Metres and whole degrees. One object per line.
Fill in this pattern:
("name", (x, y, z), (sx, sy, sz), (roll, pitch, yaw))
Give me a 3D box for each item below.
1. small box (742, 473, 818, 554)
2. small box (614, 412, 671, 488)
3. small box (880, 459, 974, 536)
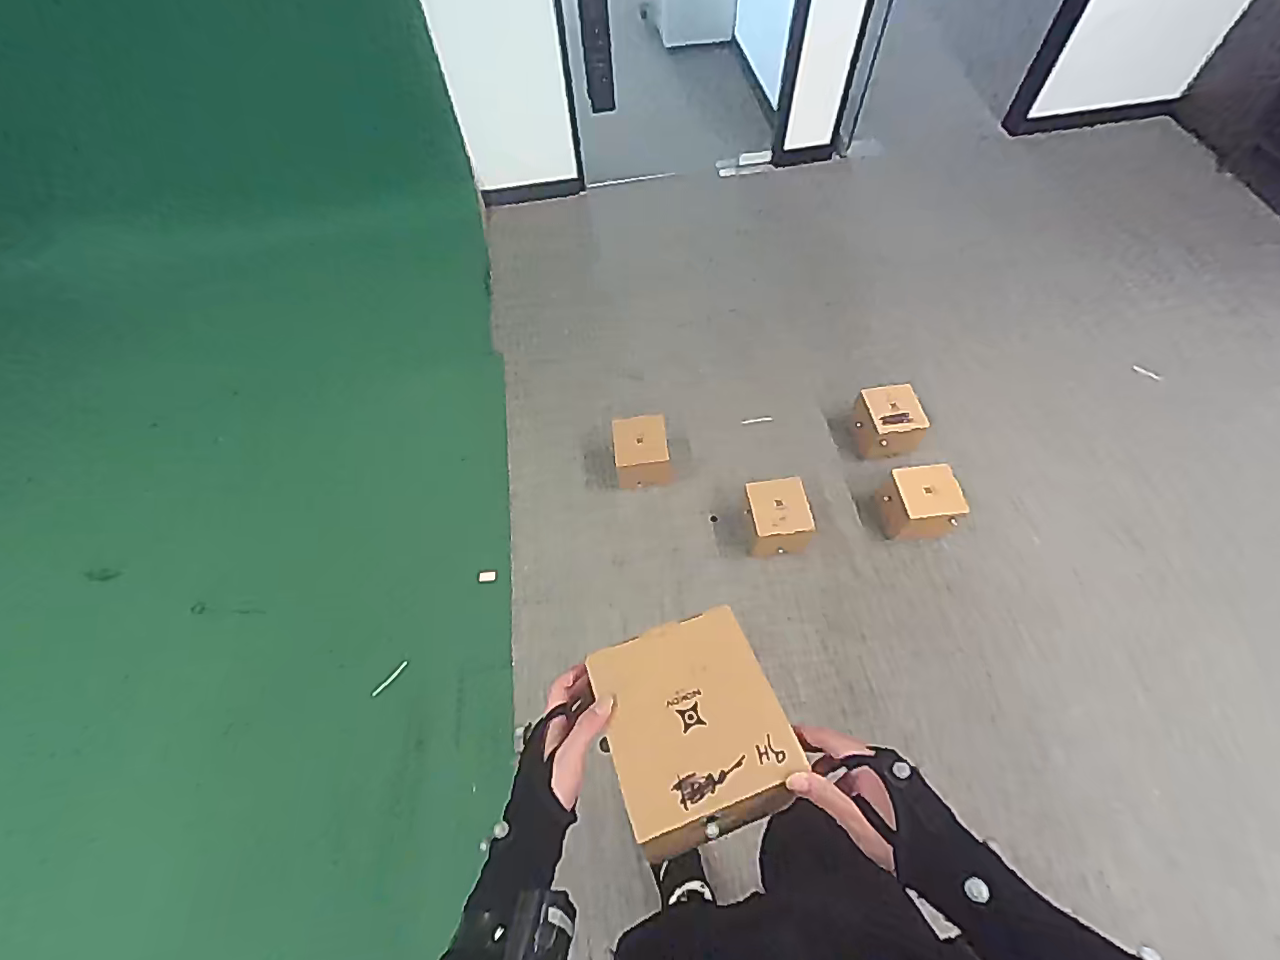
("small box", (0.407, 0.103, 1.604), (0.168, 0.176, 0.179), (-7, 60, -1))
("small box", (0.009, -0.095, 1.739), (0.168, 0.176, 0.179), (-7, 61, 0))
("small box", (0.839, 0.057, 1.609), (0.179, 0.176, 0.168), (-6, 61, -1))
